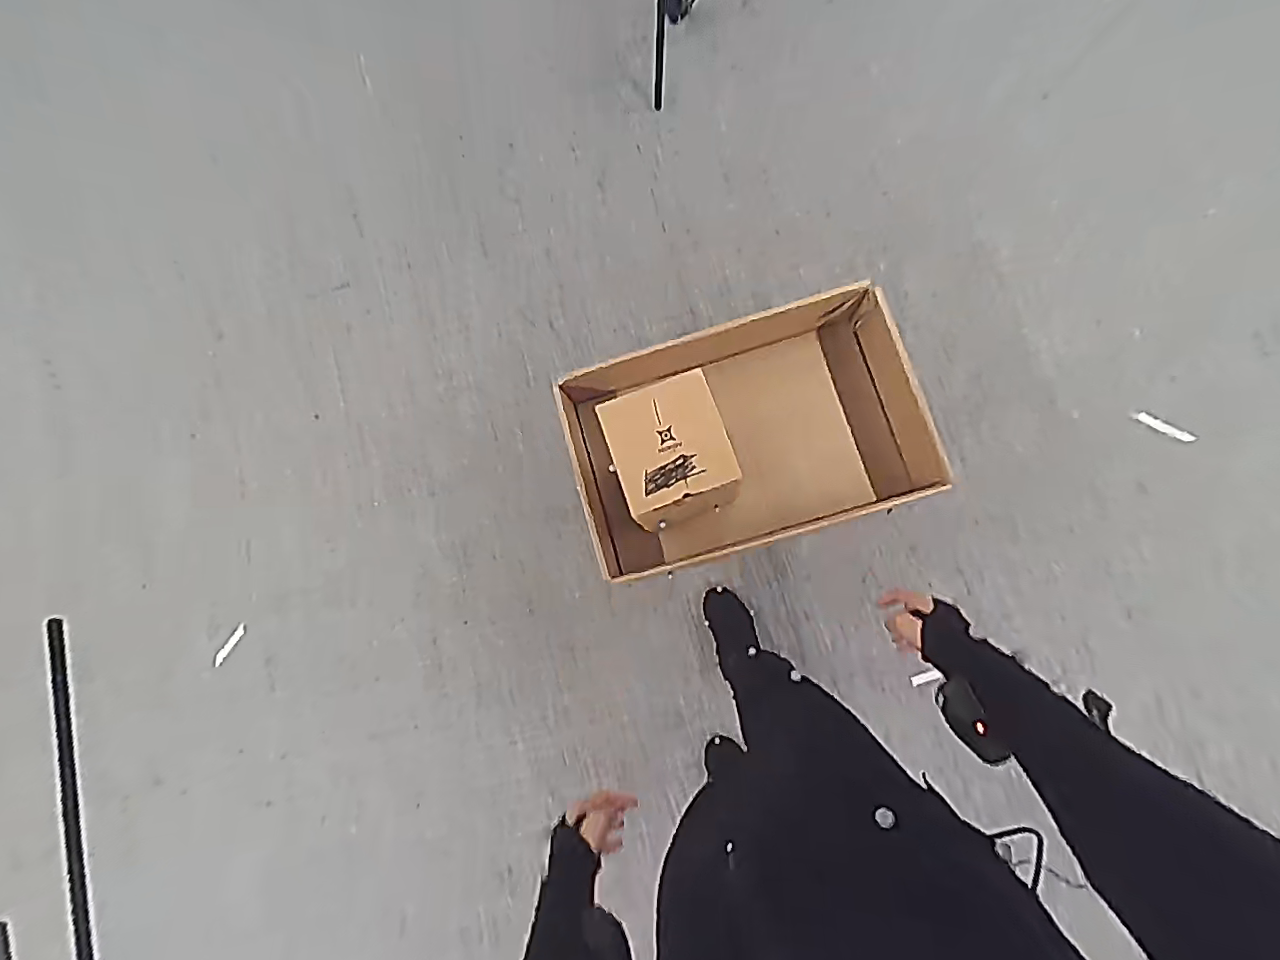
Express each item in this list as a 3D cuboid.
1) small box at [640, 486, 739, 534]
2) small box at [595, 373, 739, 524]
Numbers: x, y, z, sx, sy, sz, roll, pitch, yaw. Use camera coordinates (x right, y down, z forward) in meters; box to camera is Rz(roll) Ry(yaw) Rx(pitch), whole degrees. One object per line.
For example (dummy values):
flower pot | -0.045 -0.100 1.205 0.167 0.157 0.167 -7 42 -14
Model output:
small box | 0.067 -0.006 1.001 0.179 0.176 0.168 -21 79 3
small box | 0.046 -0.036 0.841 0.168 0.176 0.179 -20 78 2
